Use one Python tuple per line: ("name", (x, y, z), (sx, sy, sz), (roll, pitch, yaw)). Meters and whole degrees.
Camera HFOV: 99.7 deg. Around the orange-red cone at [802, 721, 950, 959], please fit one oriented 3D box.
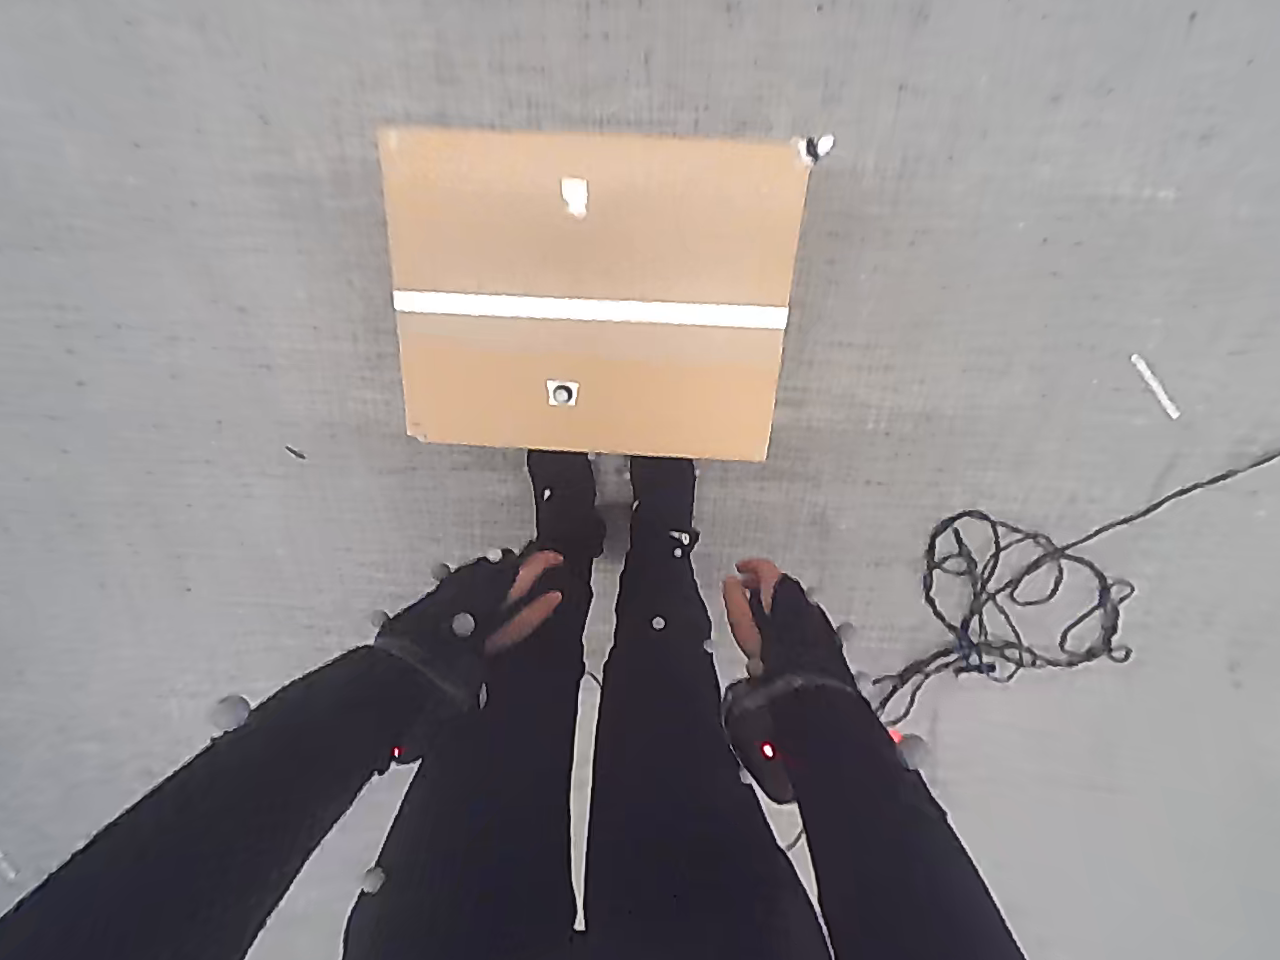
("orange-red cone", (0.464, 0.666, 0.991), (0.199, 0.360, 0.198), (20, 111, -7))
